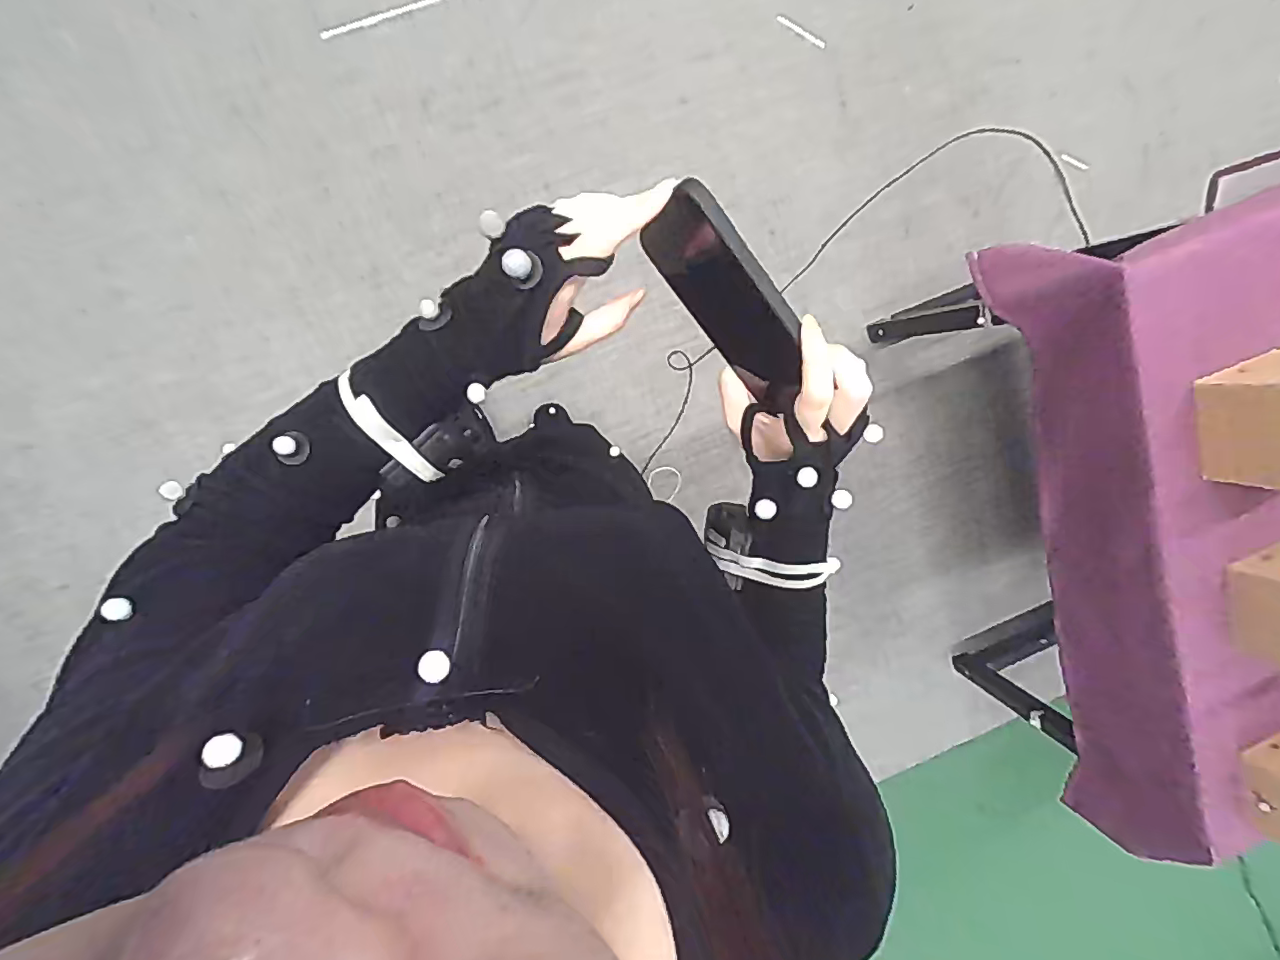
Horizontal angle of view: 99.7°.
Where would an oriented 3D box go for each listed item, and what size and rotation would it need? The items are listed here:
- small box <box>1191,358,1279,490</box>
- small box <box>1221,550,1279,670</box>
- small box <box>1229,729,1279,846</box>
[{"bbox_3d":[1.012,-0.089,0.836,0.168,0.176,0.179,-20,104,-6],"label":"small box"},{"bbox_3d":[1.144,0.228,0.914,0.168,0.176,0.179,-18,103,-6],"label":"small box"},{"bbox_3d":[1.257,0.593,0.996,0.168,0.176,0.179,-22,103,-5],"label":"small box"}]
